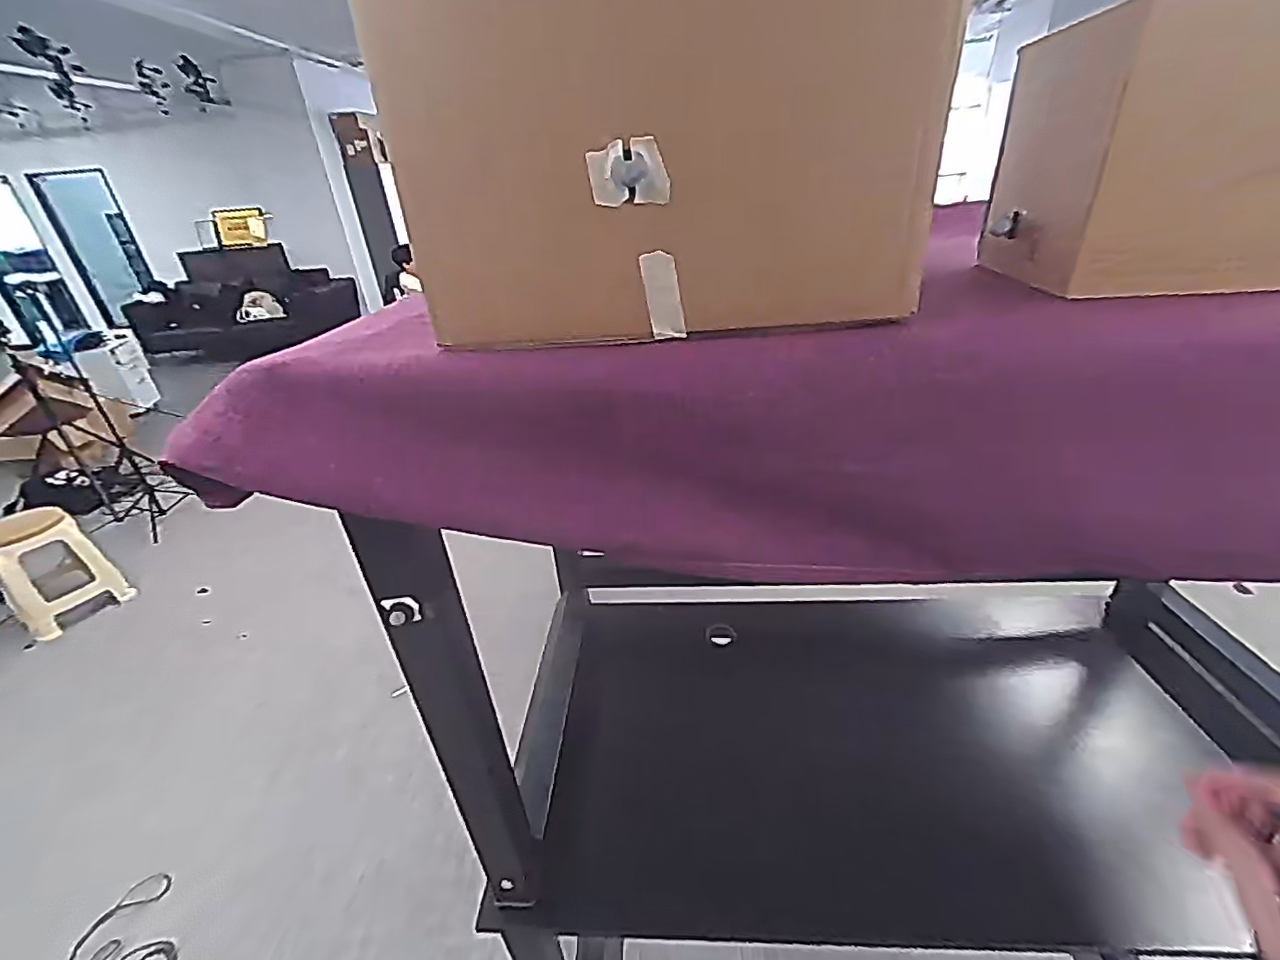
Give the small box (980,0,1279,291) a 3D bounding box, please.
[{"bbox_3d":[0.380,-0.238,0.384,0.179,0.176,0.168,0,29,10],"label":"small box"}]
